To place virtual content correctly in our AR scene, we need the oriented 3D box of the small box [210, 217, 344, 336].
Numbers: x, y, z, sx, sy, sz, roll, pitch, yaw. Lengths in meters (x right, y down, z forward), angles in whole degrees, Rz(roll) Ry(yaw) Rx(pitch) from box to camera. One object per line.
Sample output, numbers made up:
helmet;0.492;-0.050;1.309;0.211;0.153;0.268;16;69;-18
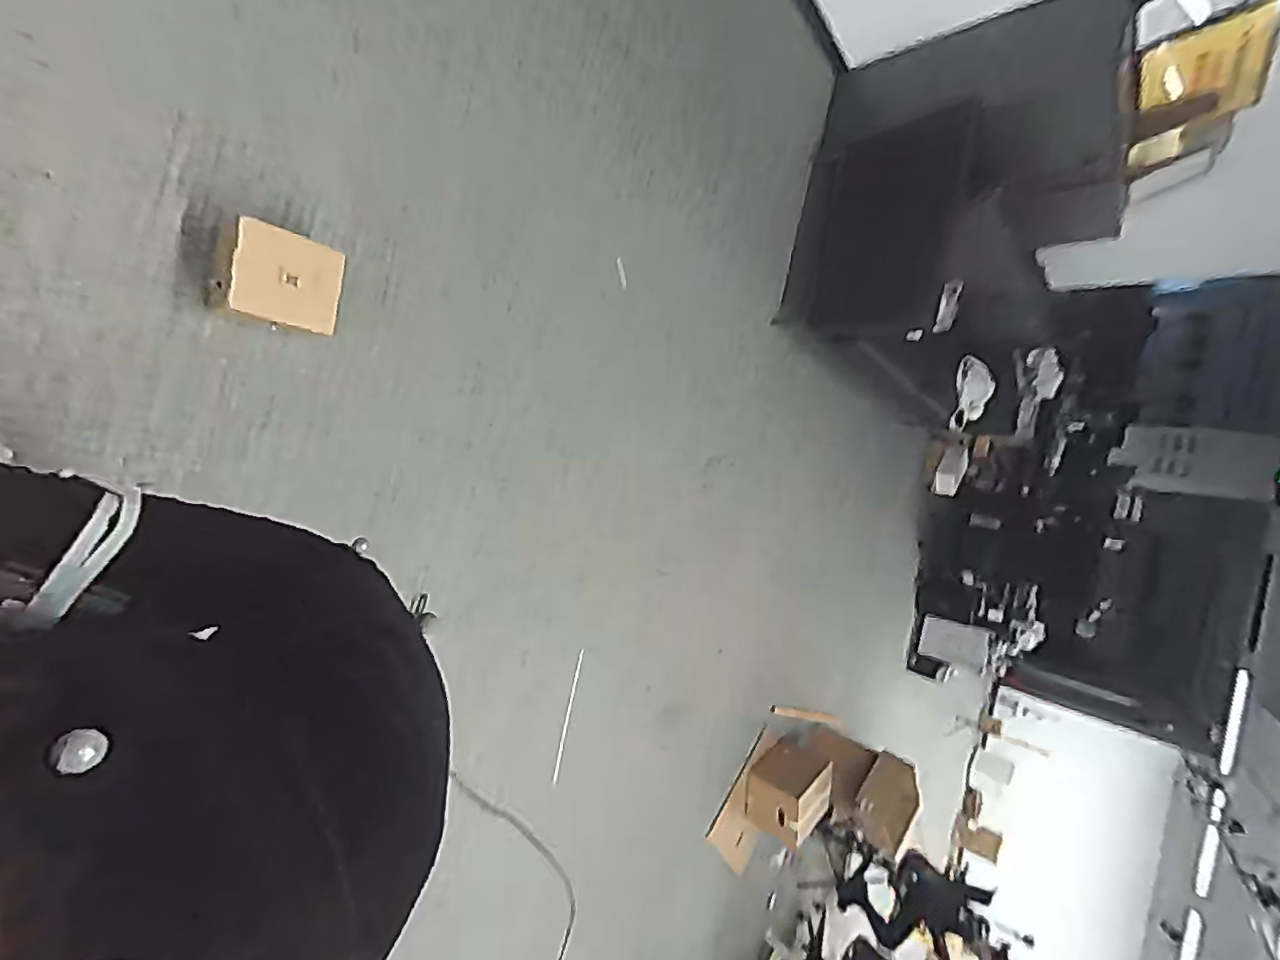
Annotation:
small box;-0.717;-0.386;1.064;0.179;0.176;0.168;10;92;-48
